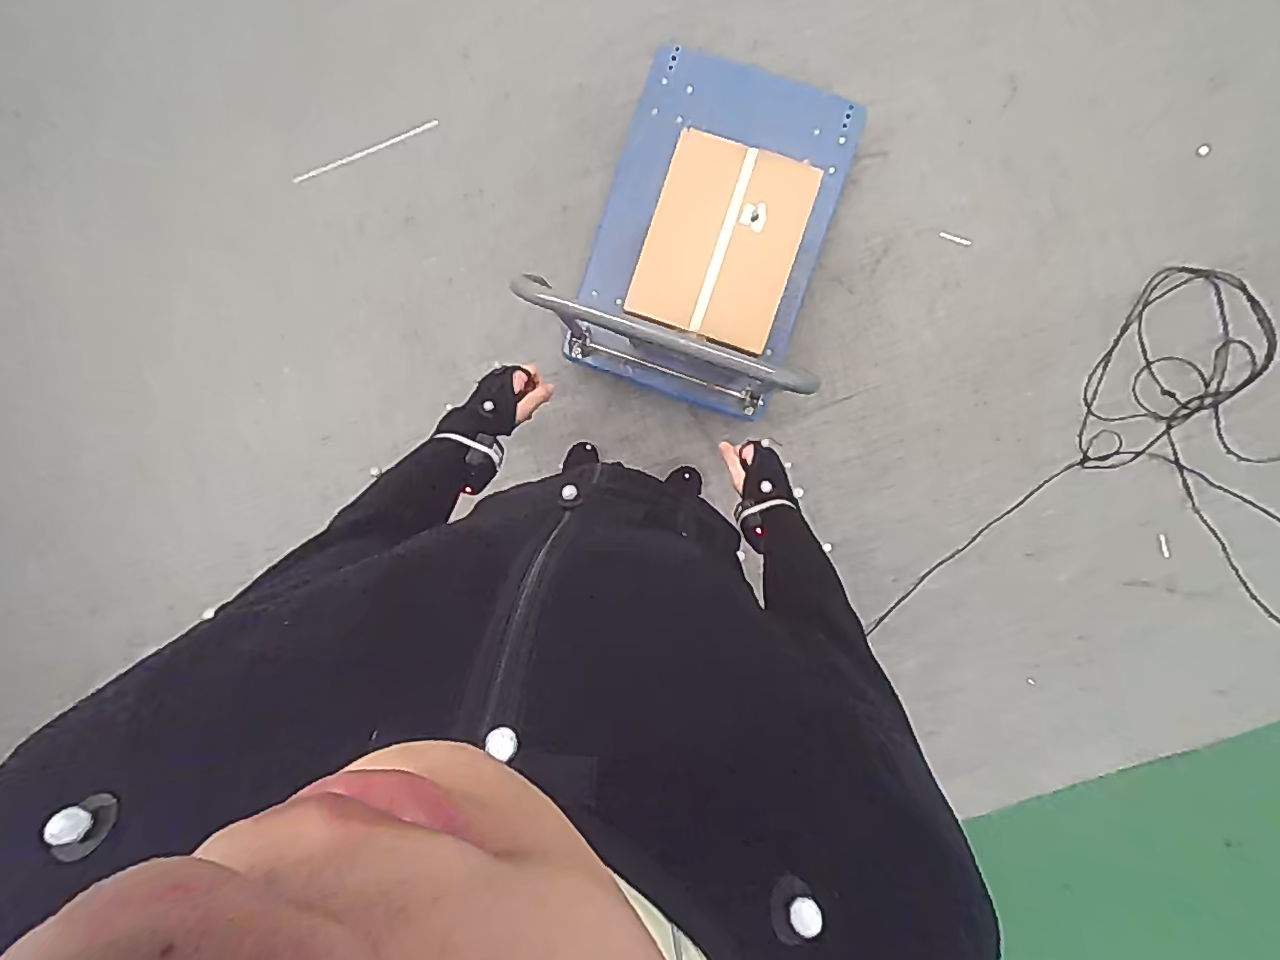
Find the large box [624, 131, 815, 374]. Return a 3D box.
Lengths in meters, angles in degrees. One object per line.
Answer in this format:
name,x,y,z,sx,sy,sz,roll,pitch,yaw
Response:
large box,0.173,-0.512,1.302,0.320,0.320,0.408,19,92,0
